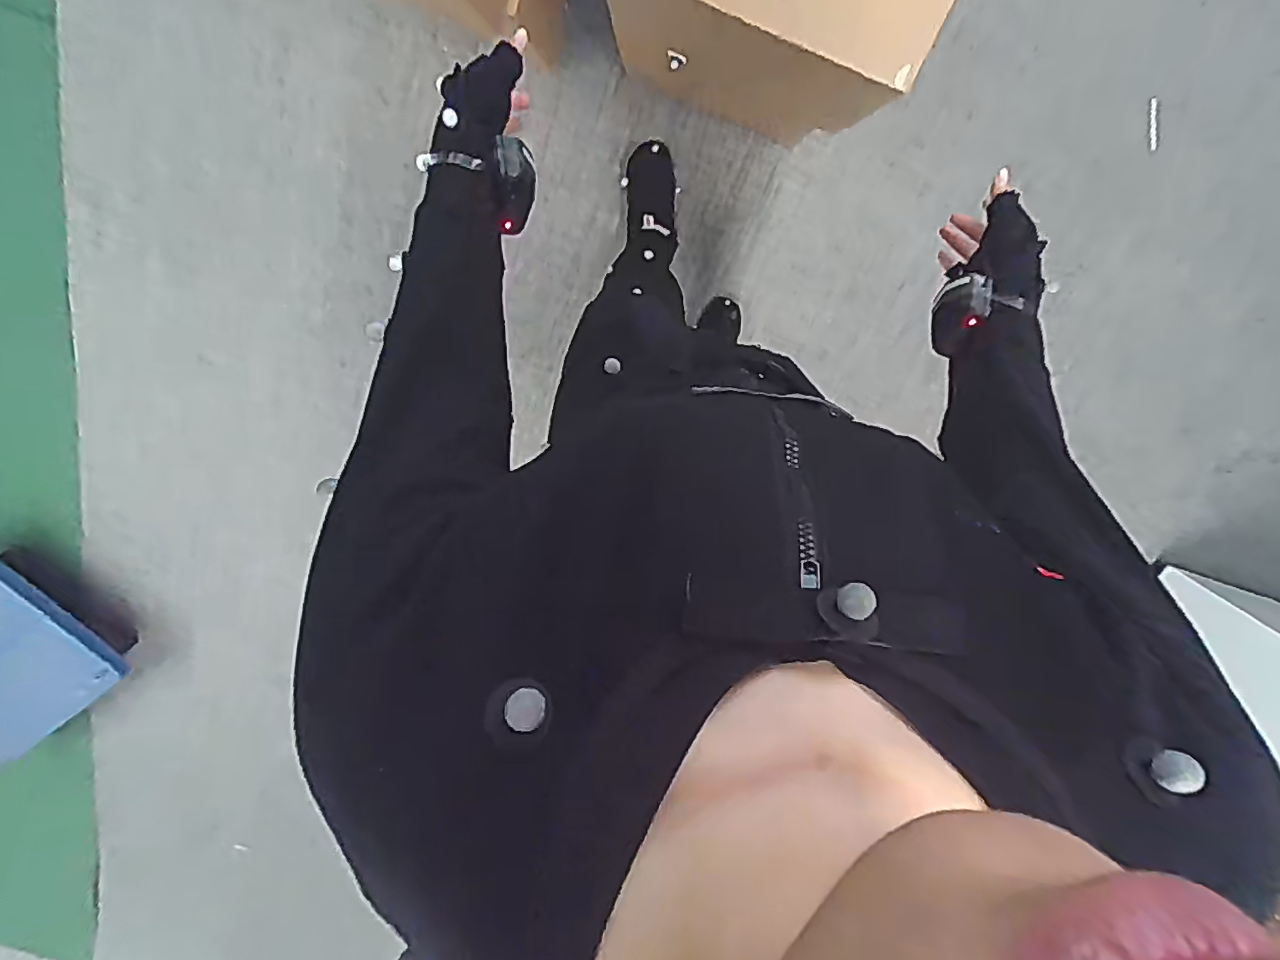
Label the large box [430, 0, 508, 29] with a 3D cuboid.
[{"bbox_3d":[-0.372,-0.875,0.684,0.408,0.320,0.320,24,114,-4],"label":"large box"}]
